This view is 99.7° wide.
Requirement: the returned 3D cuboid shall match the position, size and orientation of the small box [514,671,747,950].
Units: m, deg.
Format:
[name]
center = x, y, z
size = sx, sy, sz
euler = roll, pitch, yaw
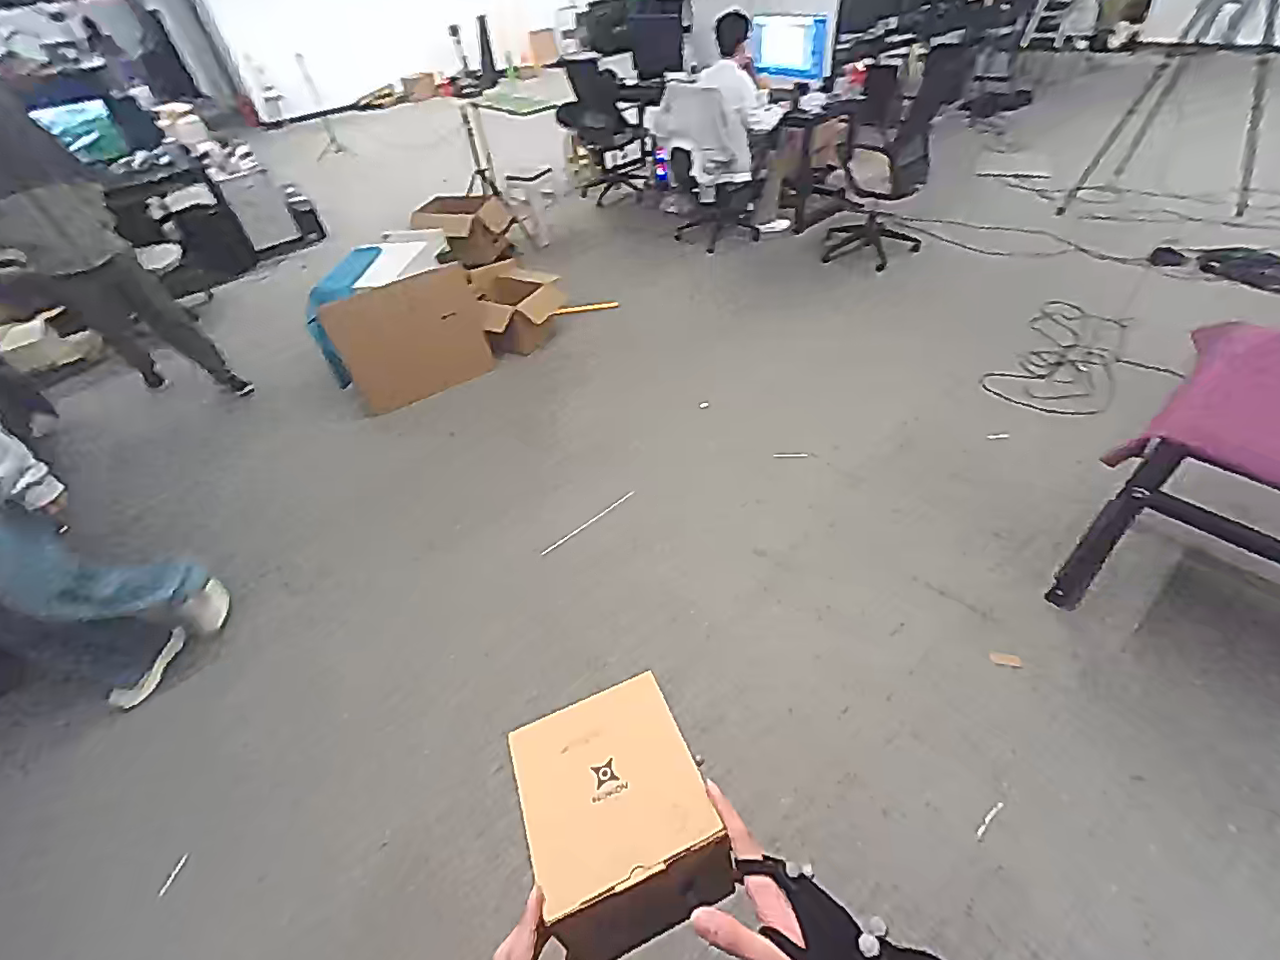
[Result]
[small box]
center = -0.004, 0.345, 0.564
size = 0.168, 0.176, 0.179
euler = -28, 43, -13
